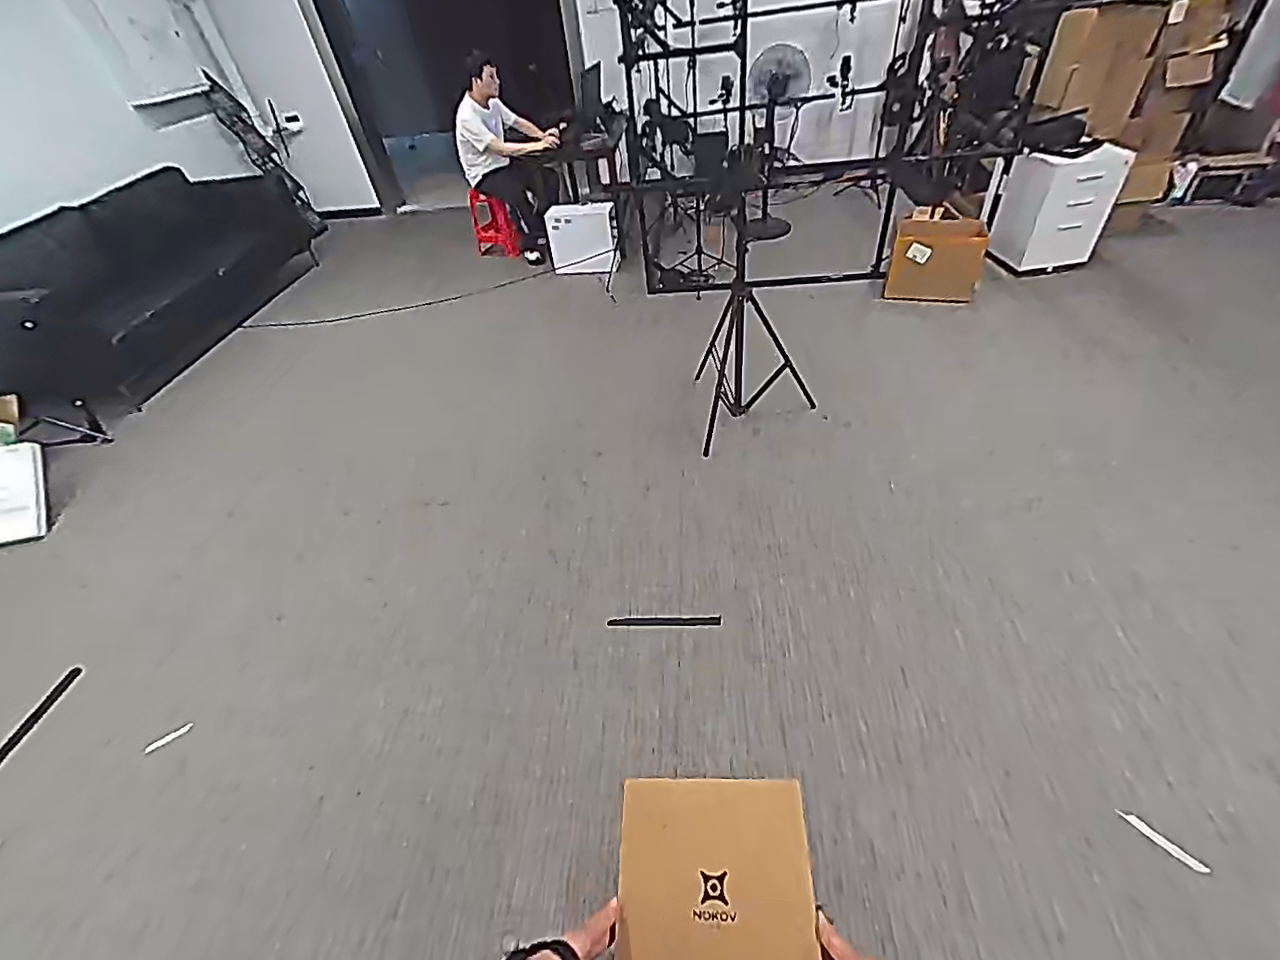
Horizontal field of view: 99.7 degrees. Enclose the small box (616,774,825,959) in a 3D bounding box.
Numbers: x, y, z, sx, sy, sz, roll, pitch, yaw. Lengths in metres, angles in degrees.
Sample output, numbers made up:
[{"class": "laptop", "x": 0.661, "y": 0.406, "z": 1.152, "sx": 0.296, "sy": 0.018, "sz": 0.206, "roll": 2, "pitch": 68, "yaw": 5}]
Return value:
[{"class": "small box", "x": 0.077, "y": 0.392, "z": 0.508, "sx": 0.168, "sy": 0.176, "sz": 0.179, "roll": -5, "pitch": 50, "yaw": 10}]
